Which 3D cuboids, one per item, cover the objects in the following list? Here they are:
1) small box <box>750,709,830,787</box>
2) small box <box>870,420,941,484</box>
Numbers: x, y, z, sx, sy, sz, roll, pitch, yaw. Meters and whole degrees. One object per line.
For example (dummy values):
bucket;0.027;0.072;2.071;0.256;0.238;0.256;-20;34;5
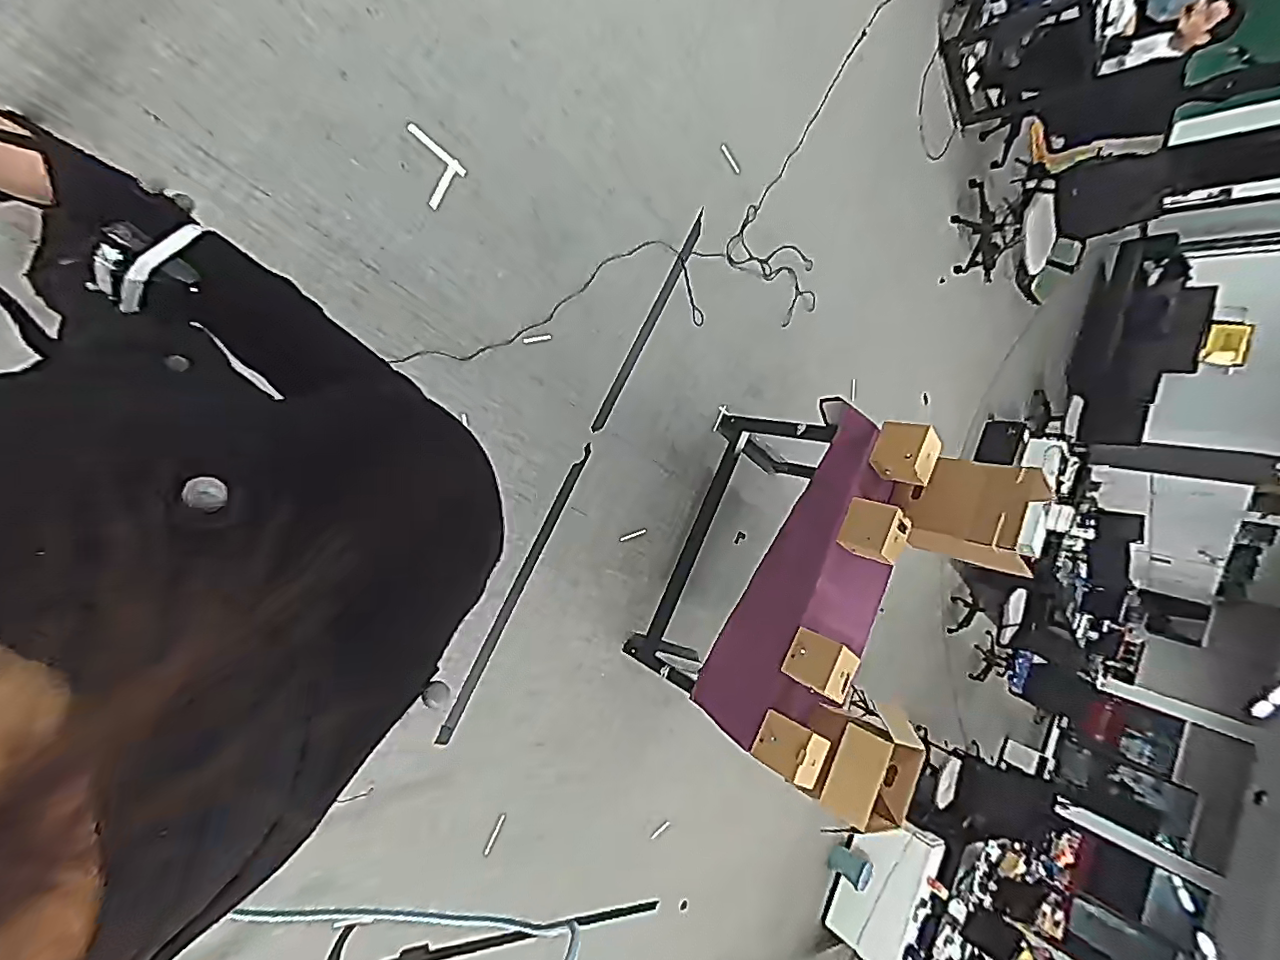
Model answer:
small box;0.500;0.893;1.808;0.179;0.176;0.168;42;71;-41
small box;0.980;-0.108;2.001;0.168;0.176;0.179;33;79;-43
